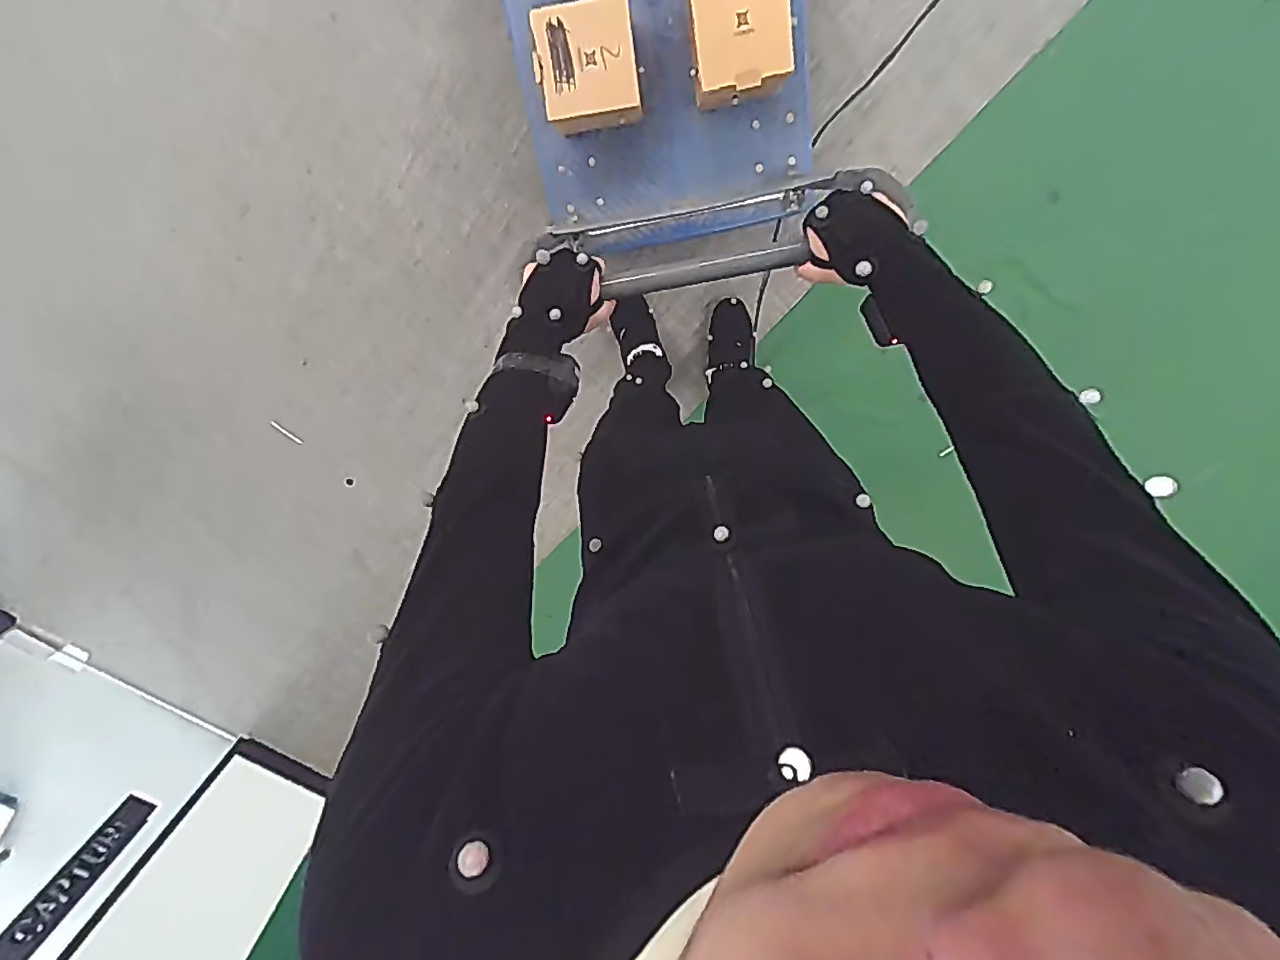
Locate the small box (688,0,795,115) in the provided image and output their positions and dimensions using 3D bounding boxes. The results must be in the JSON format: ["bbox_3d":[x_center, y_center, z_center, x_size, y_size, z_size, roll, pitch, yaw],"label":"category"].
[{"bbox_3d":[0.183,-0.809,1.003,0.168,0.176,0.179,-9,115,7],"label":"small box"}]
